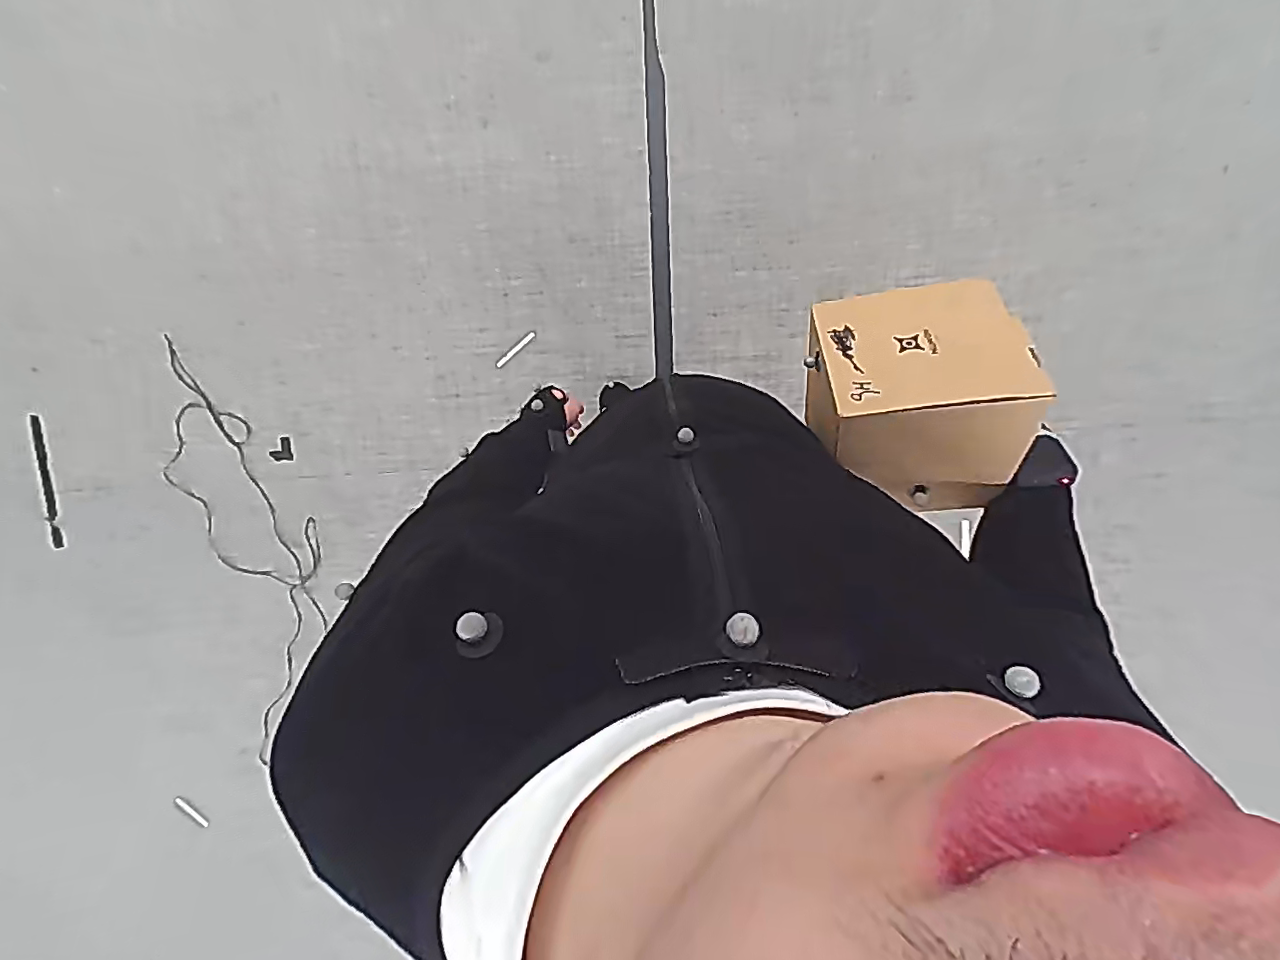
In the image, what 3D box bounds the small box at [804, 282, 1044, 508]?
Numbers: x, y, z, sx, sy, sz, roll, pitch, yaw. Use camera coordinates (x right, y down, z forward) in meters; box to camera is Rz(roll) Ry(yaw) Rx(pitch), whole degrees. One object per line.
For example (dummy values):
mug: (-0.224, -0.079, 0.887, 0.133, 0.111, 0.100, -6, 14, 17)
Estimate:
small box: (0.283, -0.085, 0.589, 0.179, 0.168, 0.176, -5, 142, 10)
